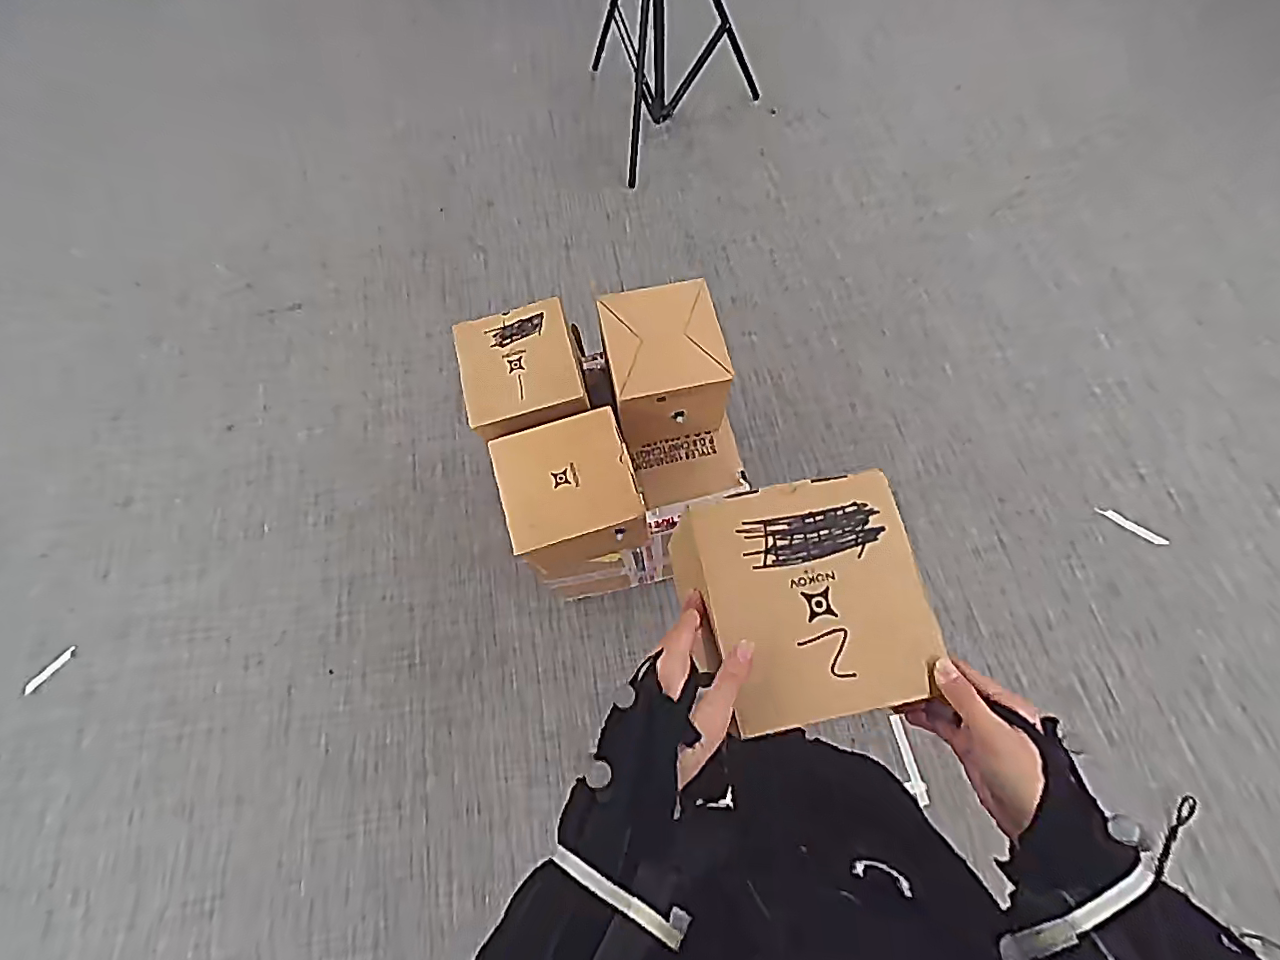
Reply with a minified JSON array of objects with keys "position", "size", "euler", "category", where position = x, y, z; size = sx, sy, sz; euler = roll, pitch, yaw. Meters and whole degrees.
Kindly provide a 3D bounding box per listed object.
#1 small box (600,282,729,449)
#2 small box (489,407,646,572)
[{"position":[0.034,-0.173,0.842],"size":[0.168,0.176,0.179],"euler":[-11,70,-4],"category":"small box"},{"position":[-0.096,0.023,0.784],"size":[0.179,0.176,0.168],"euler":[-17,72,-4],"category":"small box"}]
